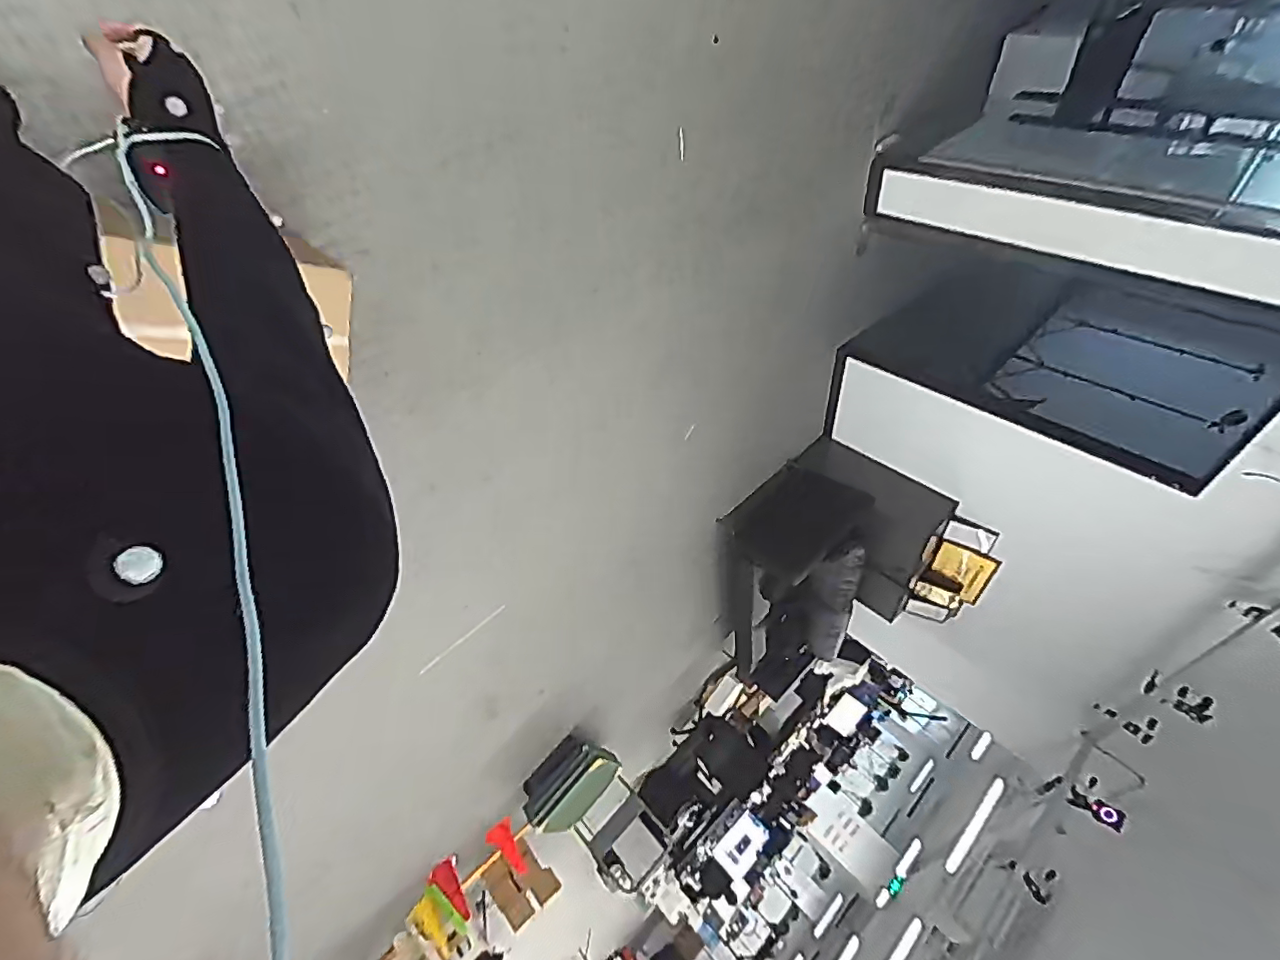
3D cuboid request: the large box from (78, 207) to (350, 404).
[{"bbox_3d":[-0.916,-0.375,1.192,0.408,0.320,0.320,-11,127,-46],"label":"large box"}]
